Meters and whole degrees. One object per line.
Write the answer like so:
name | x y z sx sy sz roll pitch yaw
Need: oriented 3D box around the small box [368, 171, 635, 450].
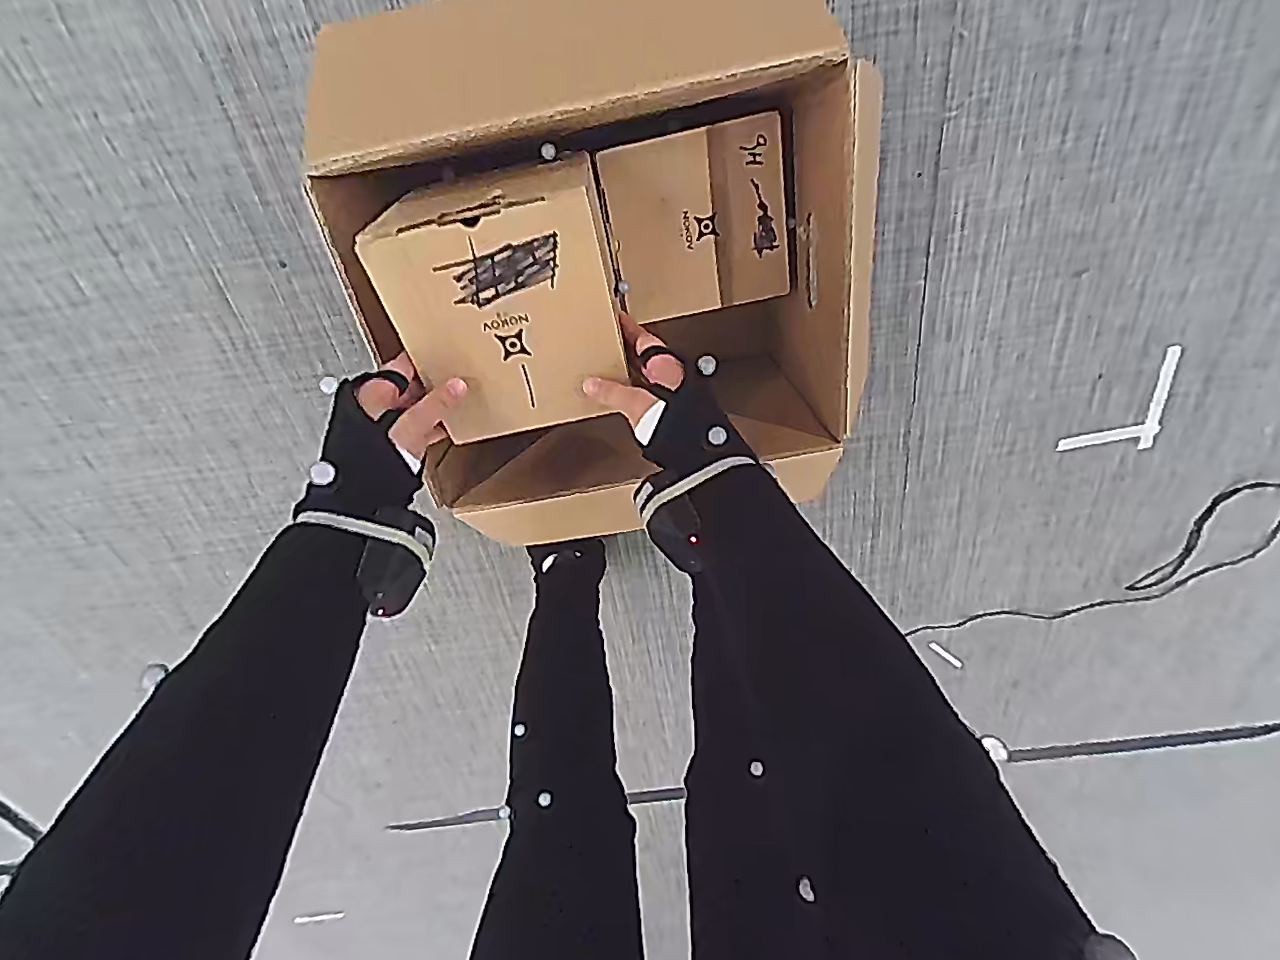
small box | -0.105 -0.158 0.484 0.168 0.176 0.179 -11 132 3
